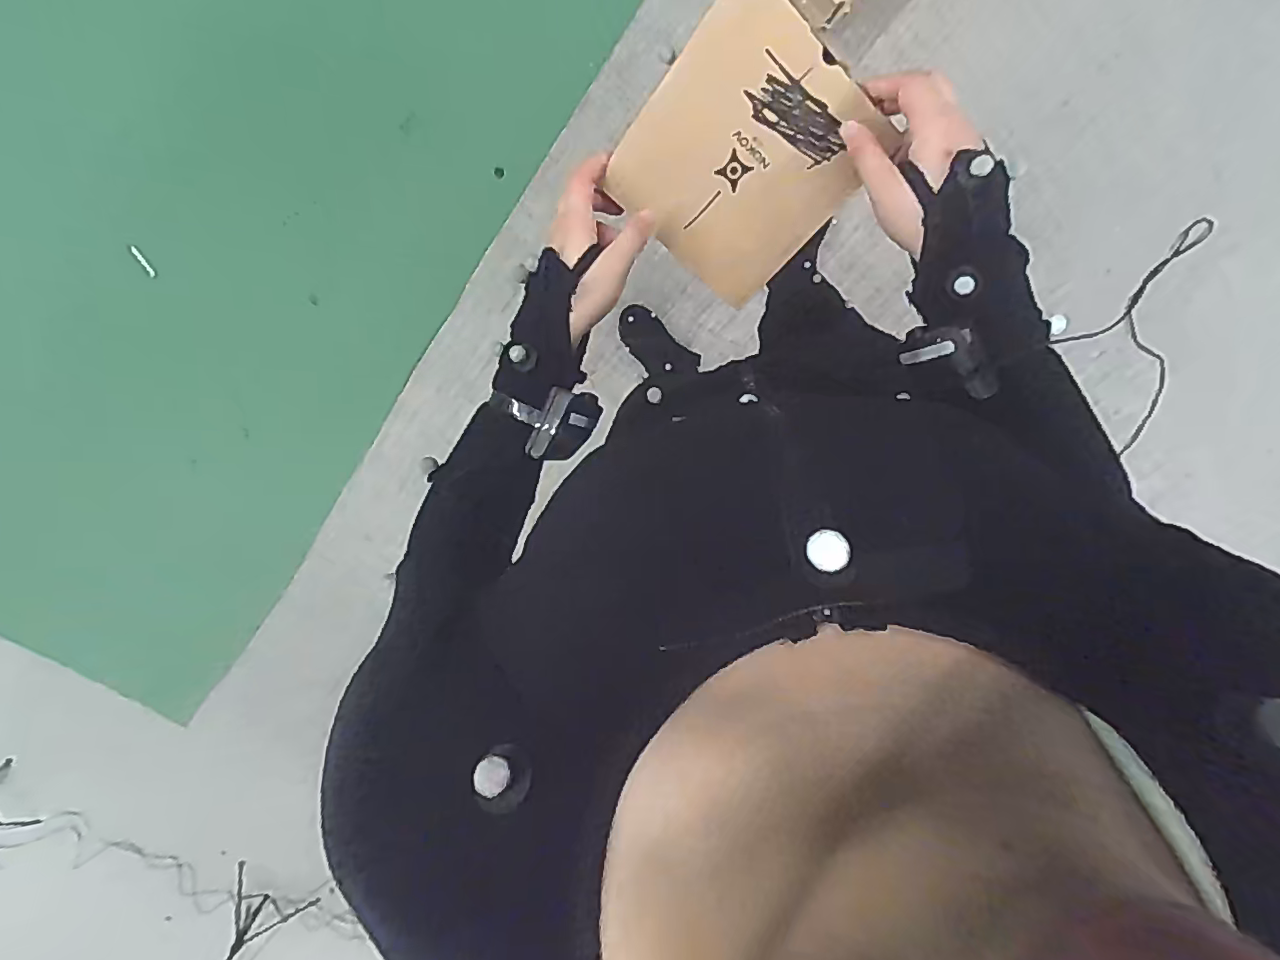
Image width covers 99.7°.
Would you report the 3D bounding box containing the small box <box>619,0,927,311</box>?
[{"bbox_3d":[0.101,-0.291,0.473,0.168,0.176,0.179,35,123,-19],"label":"small box"}]
